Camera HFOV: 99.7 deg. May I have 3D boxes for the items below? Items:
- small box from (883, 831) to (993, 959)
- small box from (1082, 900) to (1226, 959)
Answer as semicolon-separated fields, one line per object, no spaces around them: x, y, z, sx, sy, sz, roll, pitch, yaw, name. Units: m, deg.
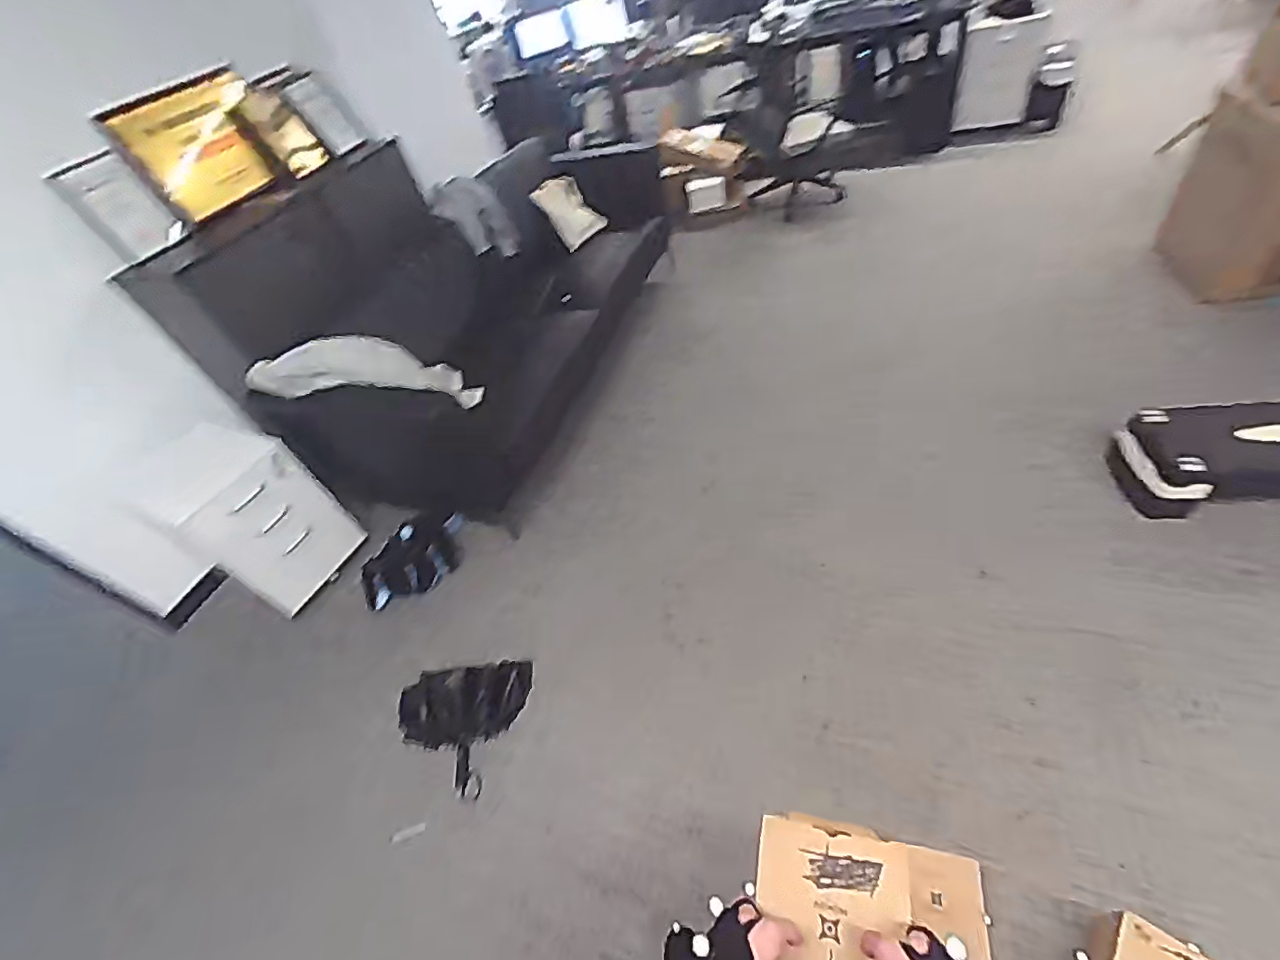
0.594;0.849;1.099;0.168;0.176;0.179;2;48;18;small box
0.908;0.894;0.951;0.168;0.176;0.179;24;60;35;small box
